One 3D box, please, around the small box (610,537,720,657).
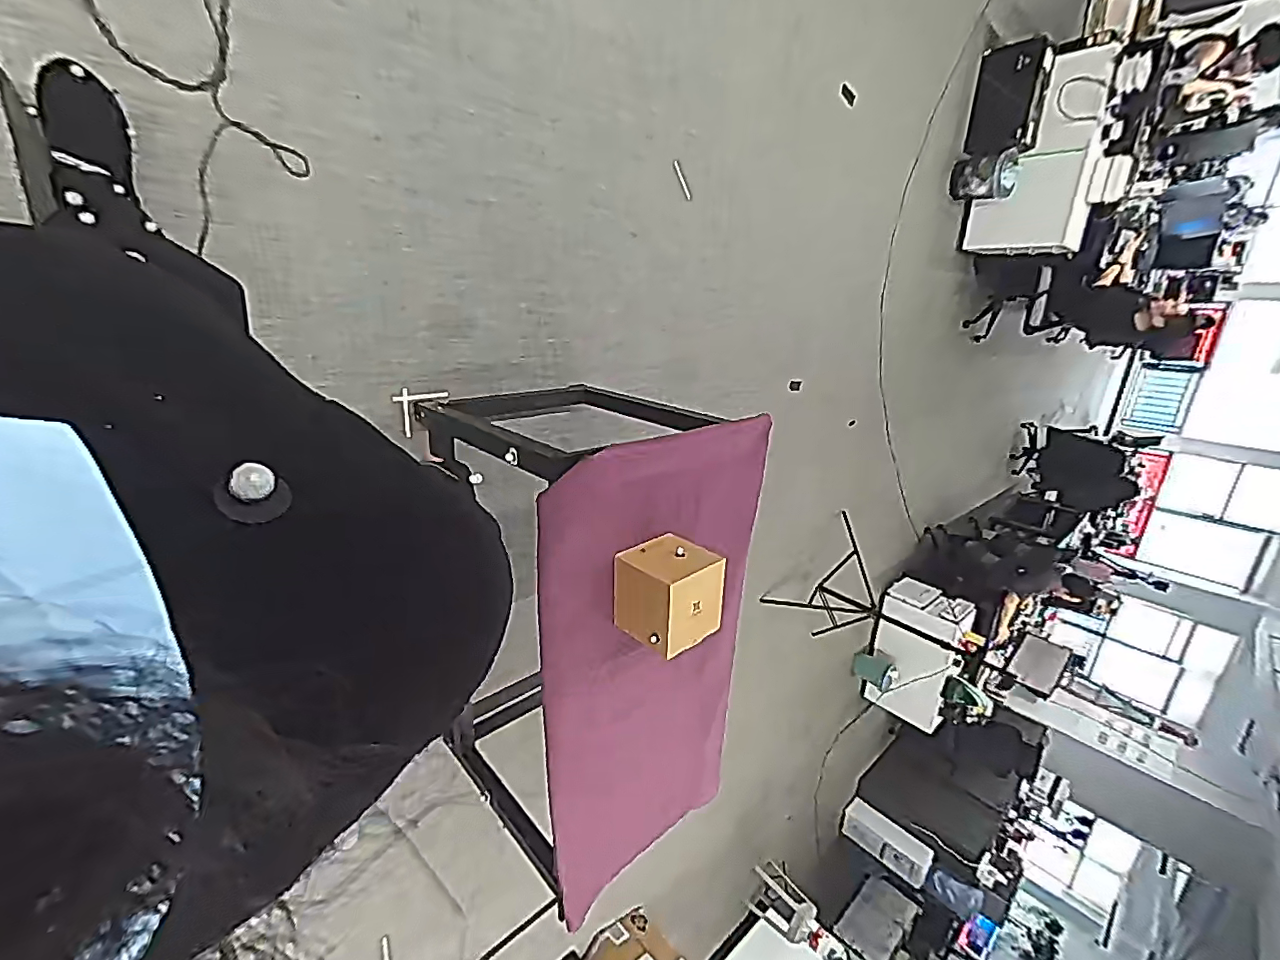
[{"bbox_3d":[0.050,0.235,1.152,0.168,0.176,0.179,-17,117,-40],"label":"small box"}]
